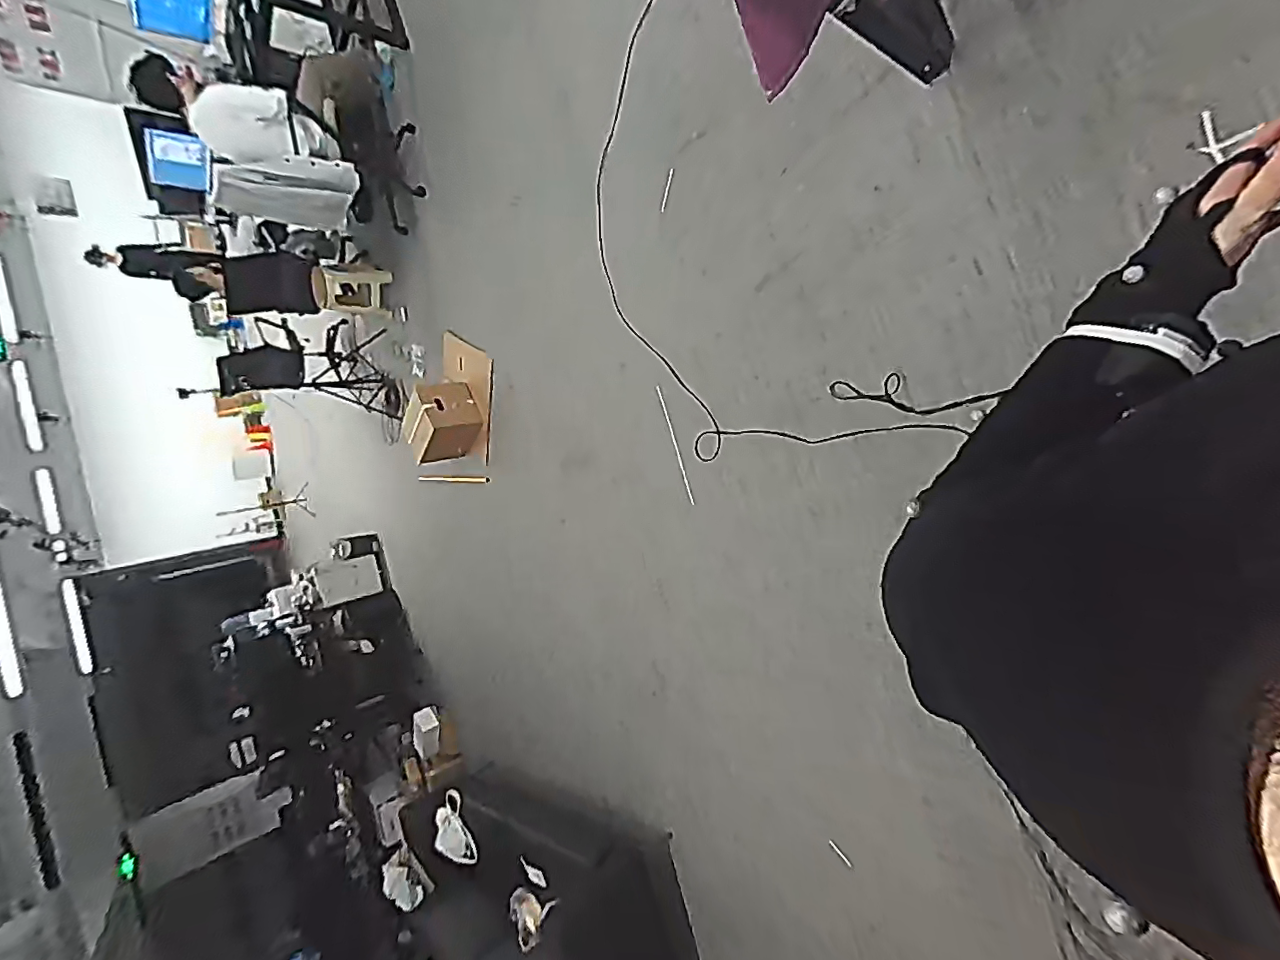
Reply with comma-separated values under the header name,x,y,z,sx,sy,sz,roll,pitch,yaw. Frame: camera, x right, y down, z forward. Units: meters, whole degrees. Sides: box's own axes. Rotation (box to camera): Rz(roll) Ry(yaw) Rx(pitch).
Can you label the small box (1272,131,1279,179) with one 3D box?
name,x,y,z,sx,sy,sz,roll,pitch,yaw
small box,0.491,-0.267,0.280,0.179,0.176,0.168,14,113,38
